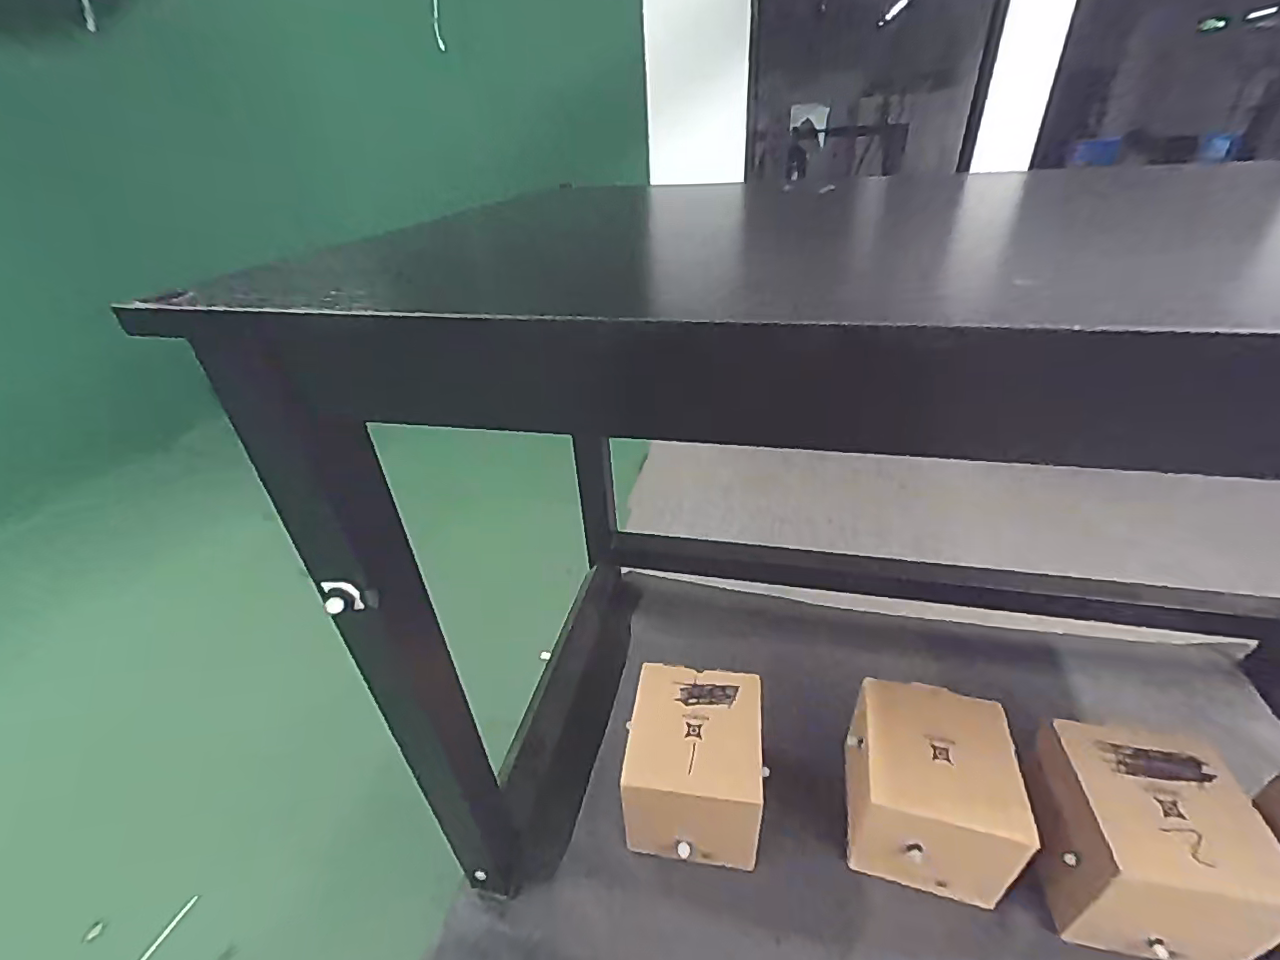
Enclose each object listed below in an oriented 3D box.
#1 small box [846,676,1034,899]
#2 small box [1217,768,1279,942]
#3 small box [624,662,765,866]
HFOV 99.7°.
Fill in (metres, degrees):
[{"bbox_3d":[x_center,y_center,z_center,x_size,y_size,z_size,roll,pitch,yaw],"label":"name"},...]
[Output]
[{"bbox_3d":[0.364,0.389,0.692,0.168,0.176,0.179,7,34,16],"label":"small box"},{"bbox_3d":[0.791,0.438,0.567,0.168,0.176,0.179,4,33,11],"label":"small box"},{"bbox_3d":[0.078,0.378,0.732,0.168,0.176,0.179,3,34,9],"label":"small box"}]
